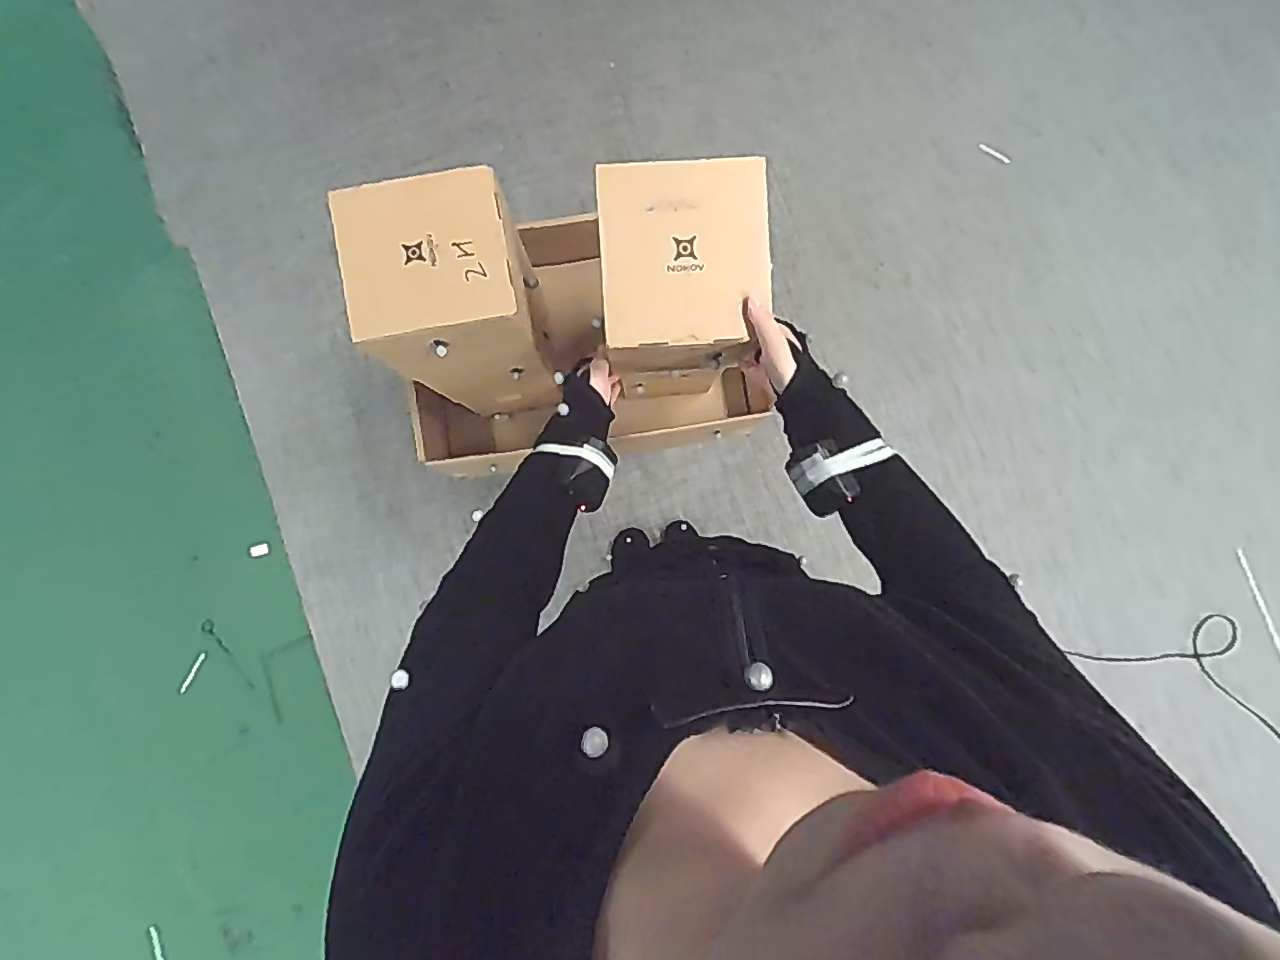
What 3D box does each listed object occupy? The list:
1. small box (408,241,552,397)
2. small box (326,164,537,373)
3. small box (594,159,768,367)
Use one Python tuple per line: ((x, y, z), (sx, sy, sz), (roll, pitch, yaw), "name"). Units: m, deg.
((-0.239, -0.229, 0.807), (0.179, 0.176, 0.168), (-10, 88, -3), "small box")
((-0.232, -0.235, 0.642), (0.179, 0.176, 0.168), (-10, 88, -2), "small box")
((0.038, -0.221, 0.598), (0.168, 0.176, 0.179), (-3, 94, -2), "small box")
